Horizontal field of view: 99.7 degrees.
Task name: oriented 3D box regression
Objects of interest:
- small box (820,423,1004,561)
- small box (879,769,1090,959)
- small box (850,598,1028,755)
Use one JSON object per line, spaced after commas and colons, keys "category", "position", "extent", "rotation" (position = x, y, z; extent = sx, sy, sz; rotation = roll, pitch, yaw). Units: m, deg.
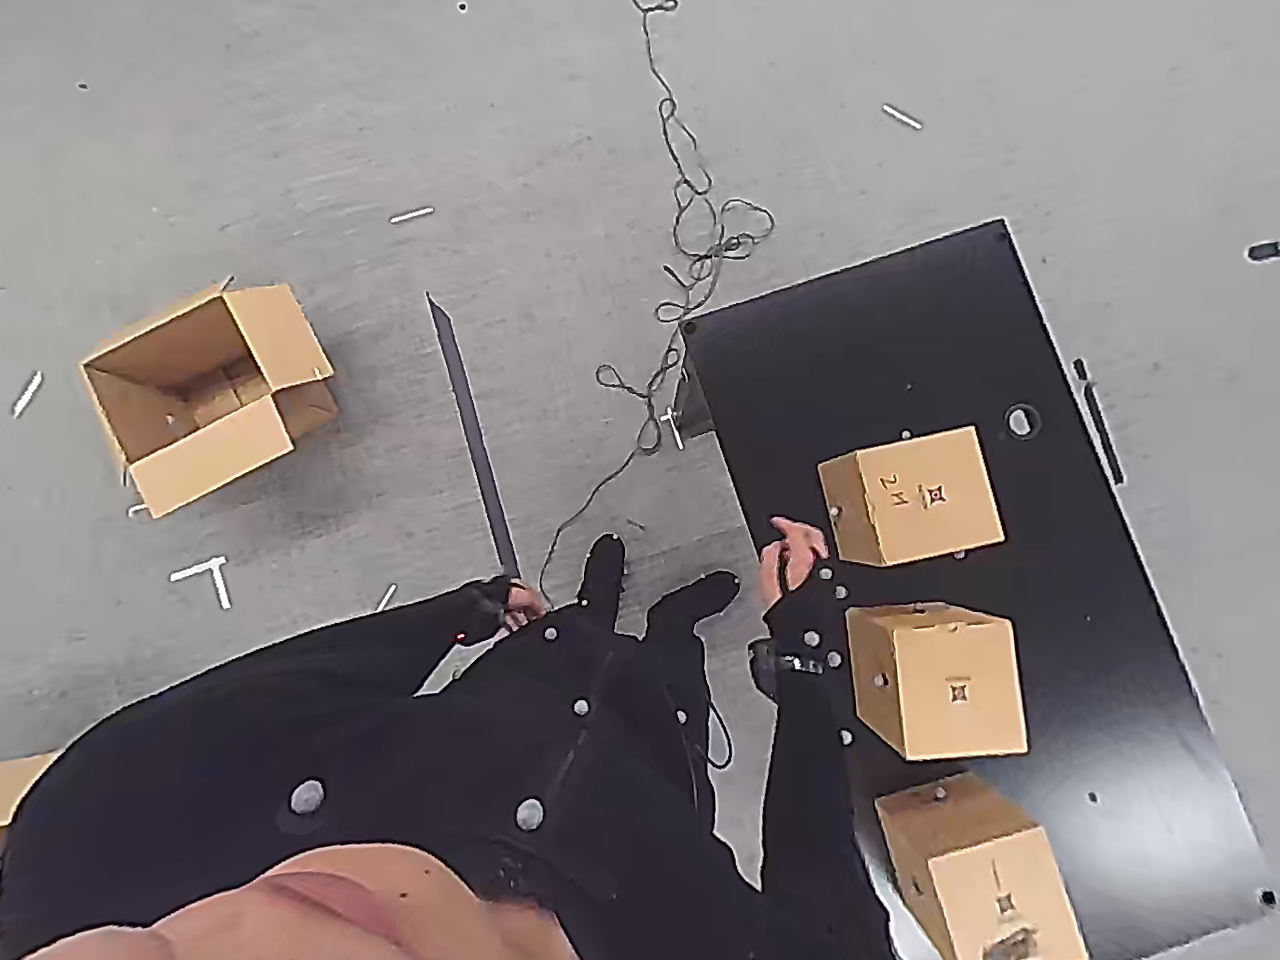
{"category": "small box", "position": [0.401, 0.021, 0.826], "extent": [0.179, 0.176, 0.168], "rotation": [-12, 85, 0]}
{"category": "small box", "position": [0.479, 0.557, 0.780], "extent": [0.168, 0.176, 0.179], "rotation": [-16, 84, -1]}
{"category": "small box", "position": [0.431, 0.281, 0.806], "extent": [0.168, 0.176, 0.179], "rotation": [-5, 85, 0]}
